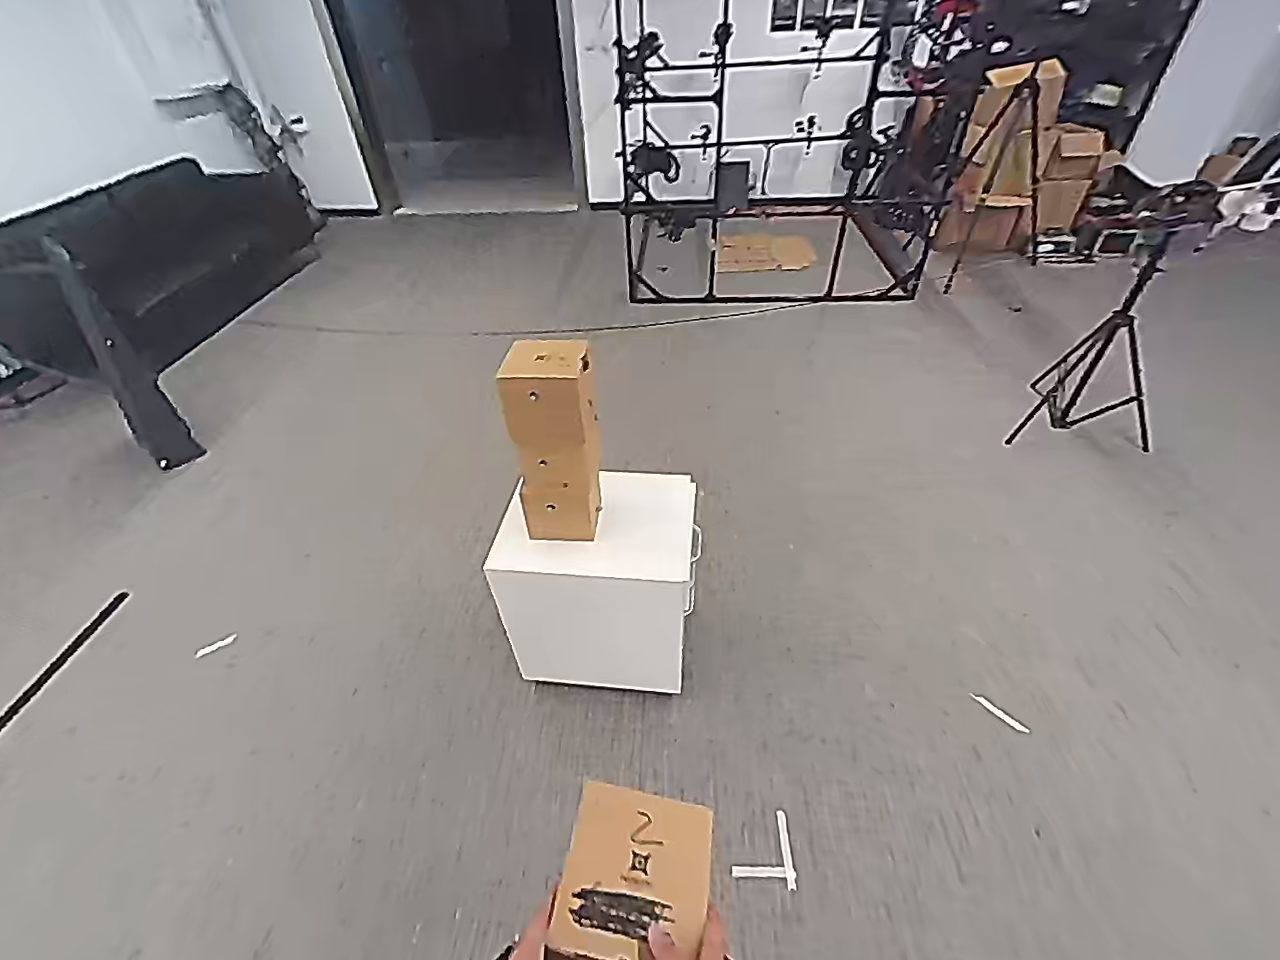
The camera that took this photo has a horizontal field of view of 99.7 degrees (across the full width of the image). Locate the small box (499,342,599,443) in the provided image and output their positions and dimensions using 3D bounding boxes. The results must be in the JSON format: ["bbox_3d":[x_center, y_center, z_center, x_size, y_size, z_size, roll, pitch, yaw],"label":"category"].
[{"bbox_3d":[-0.196,-0.196,1.215,0.179,0.176,0.168,2,42,5],"label":"small box"}]

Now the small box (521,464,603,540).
[{"bbox_3d":[-0.199,0.045,1.436,0.179,0.176,0.168,2,42,4],"label":"small box"}]

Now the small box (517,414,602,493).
[{"bbox_3d":[-0.190,-0.085,1.337,0.168,0.176,0.179,3,41,5],"label":"small box"}]
